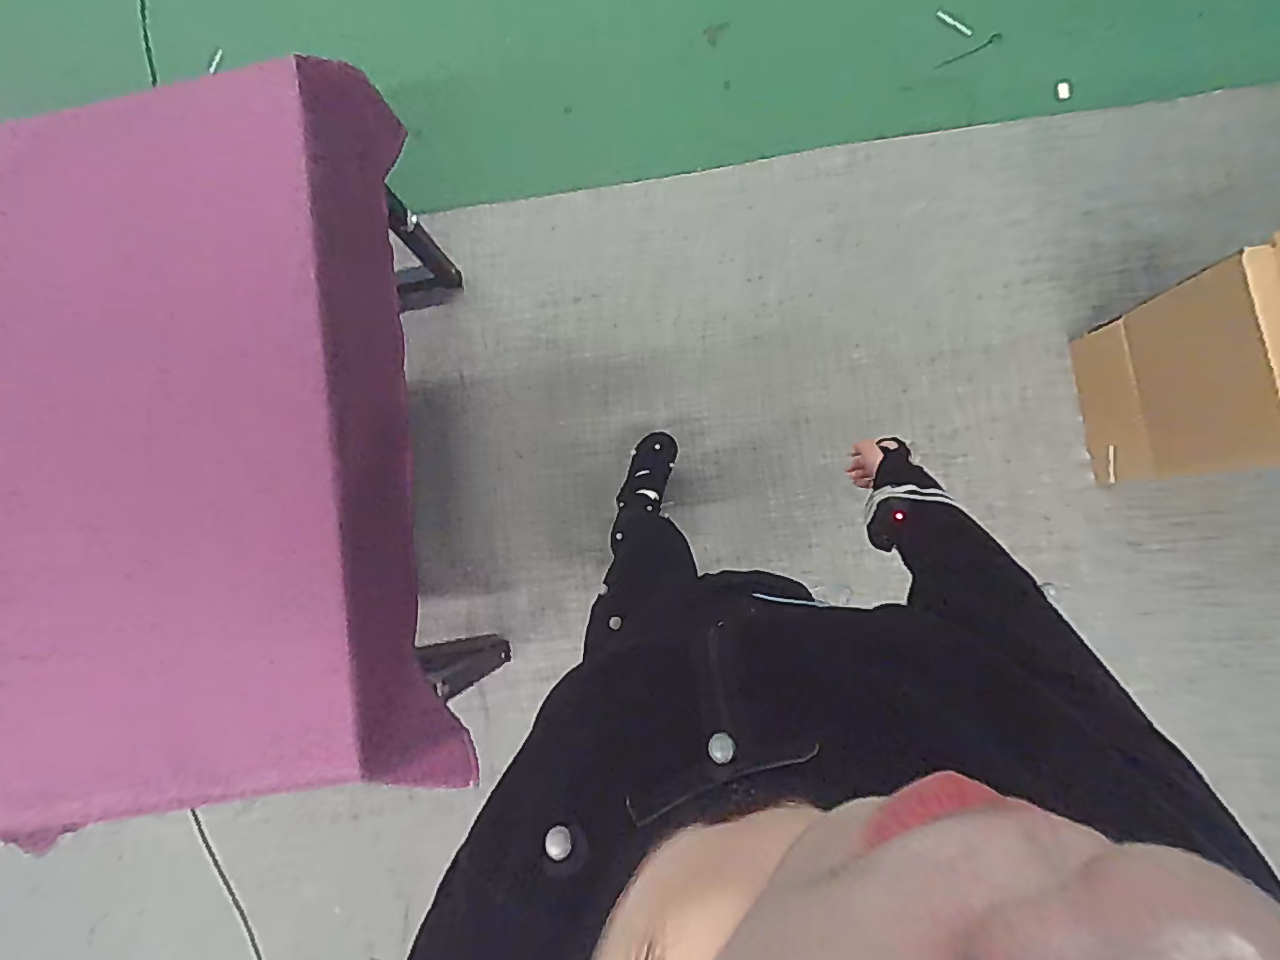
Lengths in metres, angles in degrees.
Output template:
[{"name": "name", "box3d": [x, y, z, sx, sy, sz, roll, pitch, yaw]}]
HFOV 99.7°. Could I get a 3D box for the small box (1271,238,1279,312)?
[{"name": "small box", "box3d": [1.272, -0.390, 0.939, 0.179, 0.176, 0.168, -6, 83, 3]}]
